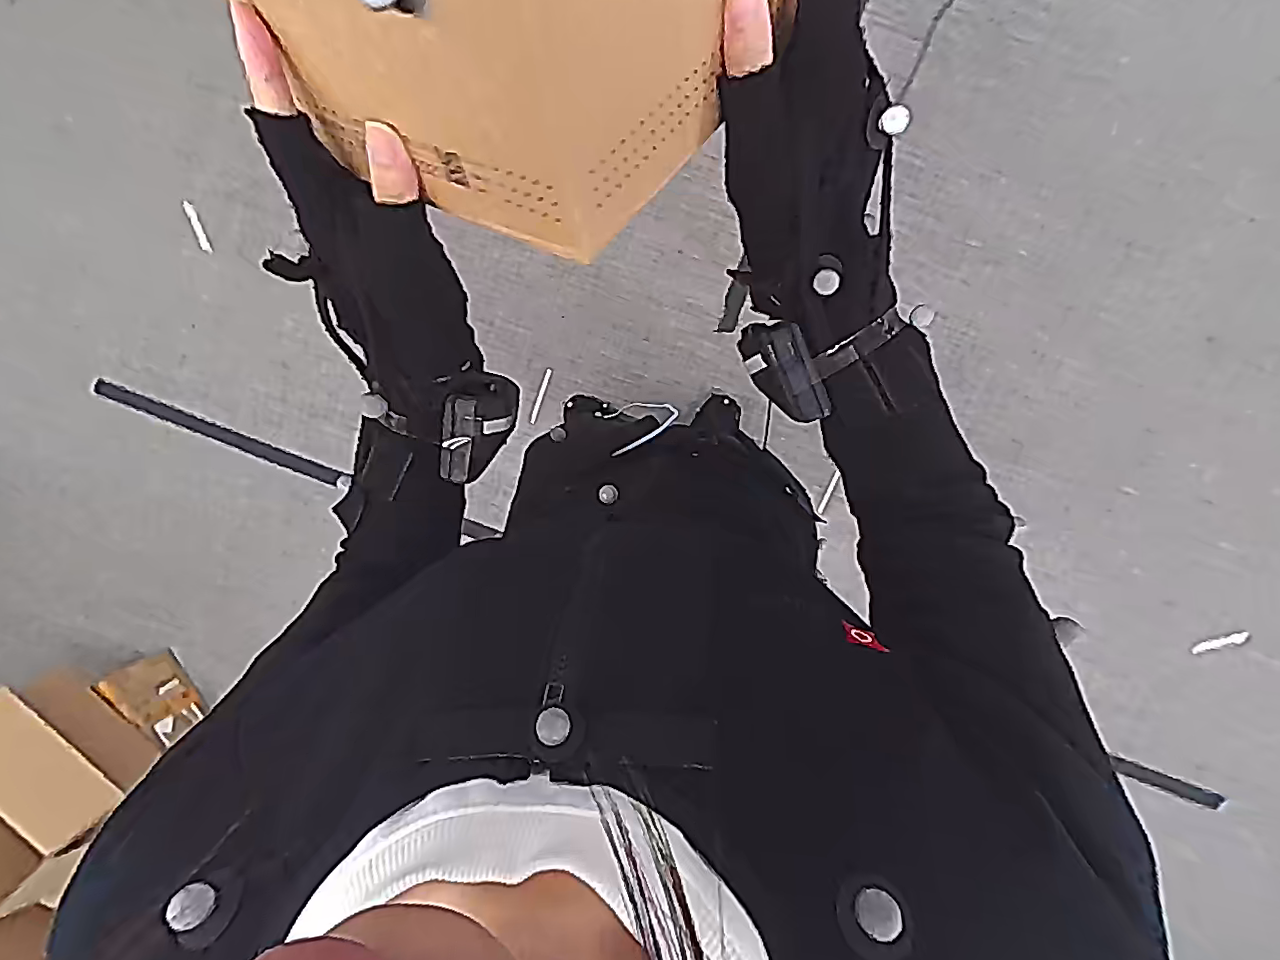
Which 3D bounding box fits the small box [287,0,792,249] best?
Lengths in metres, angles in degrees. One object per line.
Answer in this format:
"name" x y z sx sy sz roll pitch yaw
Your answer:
"small box" -0.038 -0.228 0.217 0.168 0.176 0.179 29 68 20
